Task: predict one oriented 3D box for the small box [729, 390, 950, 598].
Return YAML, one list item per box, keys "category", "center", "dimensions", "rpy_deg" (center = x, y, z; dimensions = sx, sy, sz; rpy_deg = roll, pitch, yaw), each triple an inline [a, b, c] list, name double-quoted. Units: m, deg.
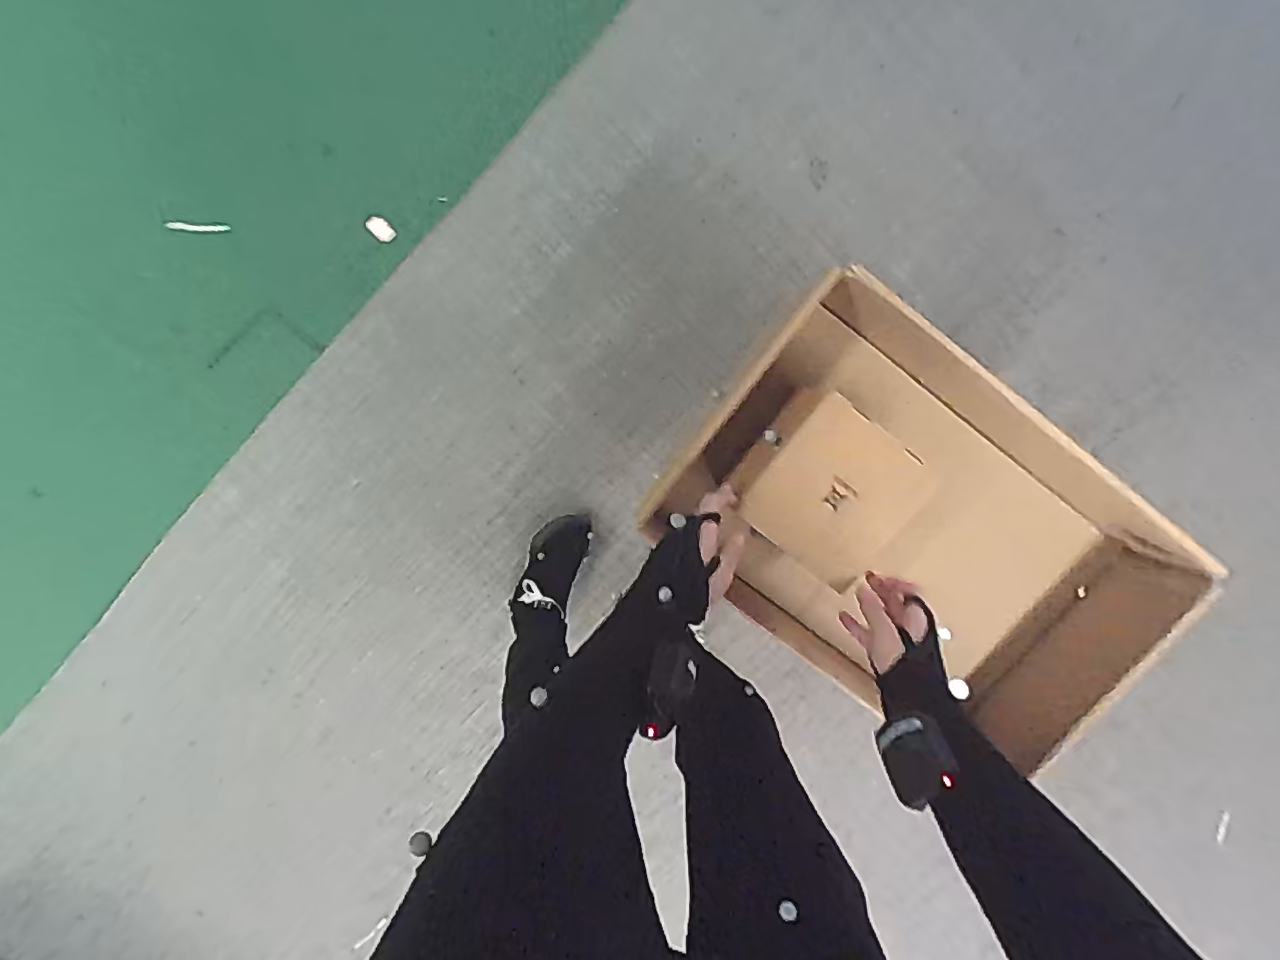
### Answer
- category: "small box"
  center: [0.227, 0.008, 0.673]
  dimensions: [0.168, 0.176, 0.179]
  rpy_deg: [38, 97, -4]
